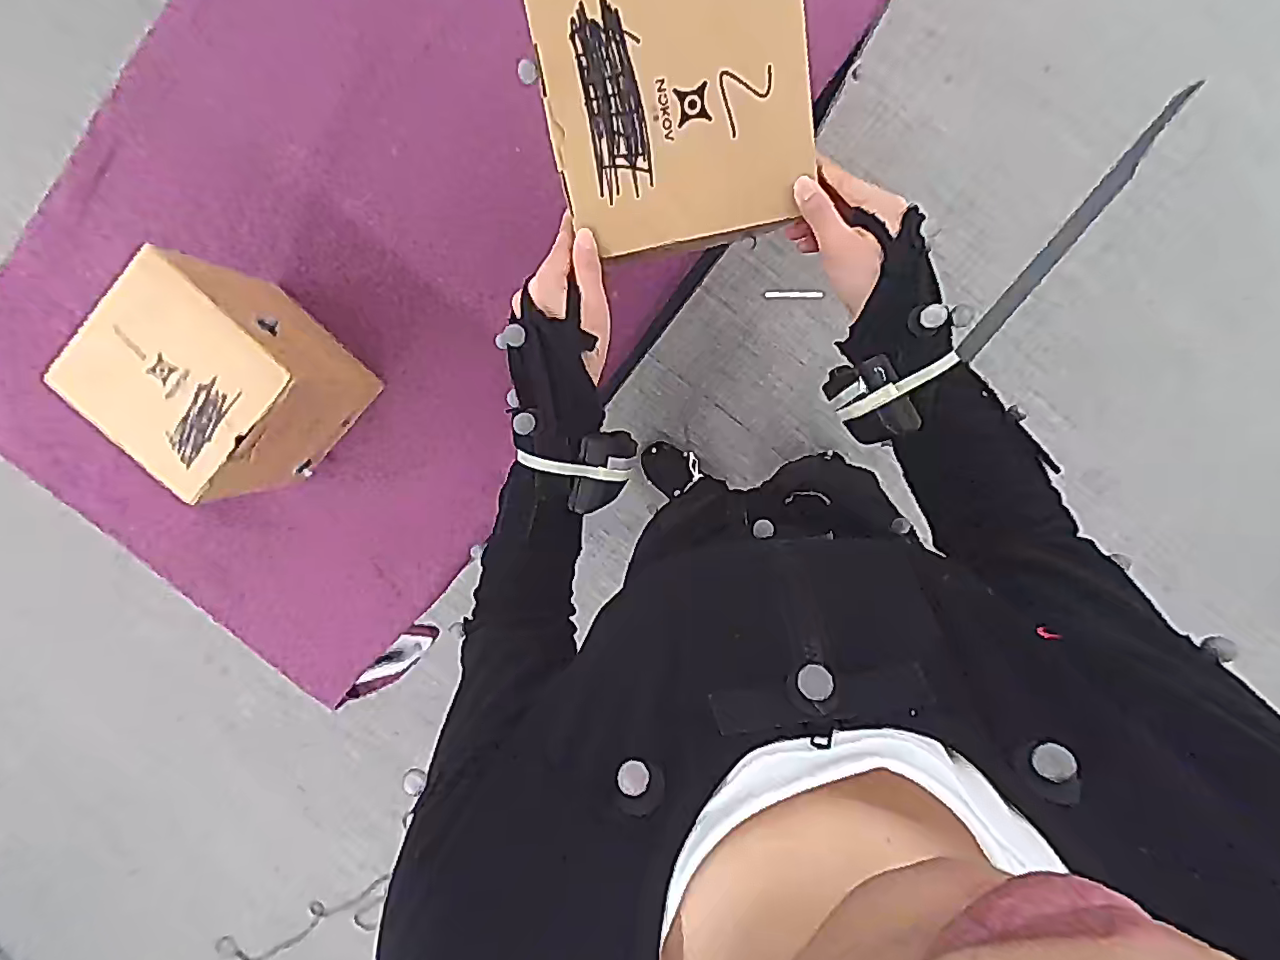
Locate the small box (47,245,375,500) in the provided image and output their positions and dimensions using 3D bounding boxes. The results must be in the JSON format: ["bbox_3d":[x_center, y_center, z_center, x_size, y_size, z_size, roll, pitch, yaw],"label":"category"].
[{"bbox_3d":[-0.427,-0.106,0.574,0.179,0.176,0.168,43,96,-3],"label":"small box"}]
